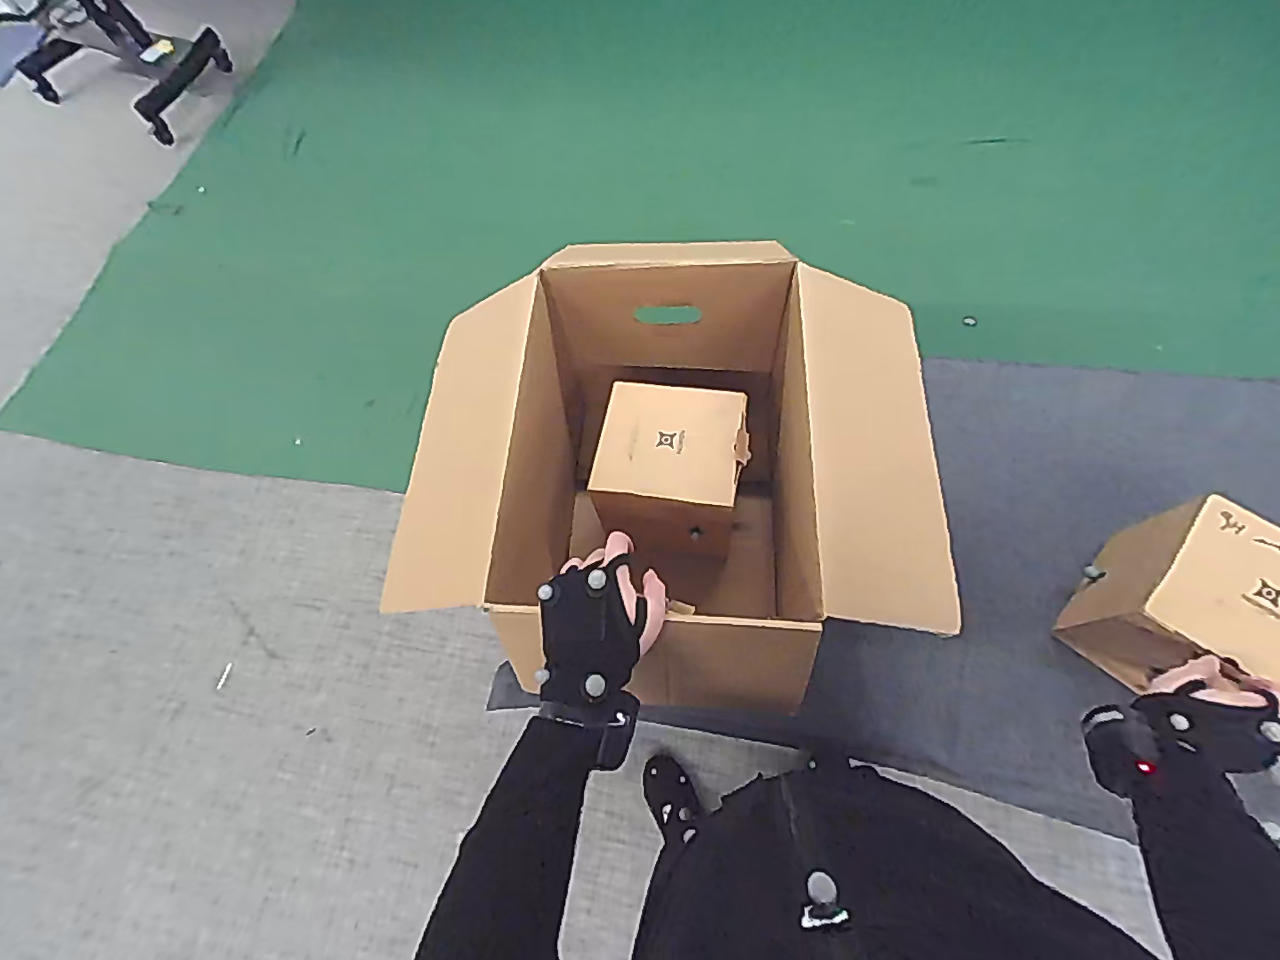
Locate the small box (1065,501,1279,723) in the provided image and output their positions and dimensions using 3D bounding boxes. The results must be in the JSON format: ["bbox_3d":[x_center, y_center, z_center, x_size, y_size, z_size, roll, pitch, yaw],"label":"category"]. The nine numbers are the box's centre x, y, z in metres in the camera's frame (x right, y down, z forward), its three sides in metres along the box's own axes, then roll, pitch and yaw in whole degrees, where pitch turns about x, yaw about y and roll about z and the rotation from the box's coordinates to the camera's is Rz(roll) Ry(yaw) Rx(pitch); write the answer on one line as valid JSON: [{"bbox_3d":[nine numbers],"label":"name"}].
[{"bbox_3d":[0.649,0.162,0.629,0.168,0.176,0.179,39,76,21],"label":"small box"}]
